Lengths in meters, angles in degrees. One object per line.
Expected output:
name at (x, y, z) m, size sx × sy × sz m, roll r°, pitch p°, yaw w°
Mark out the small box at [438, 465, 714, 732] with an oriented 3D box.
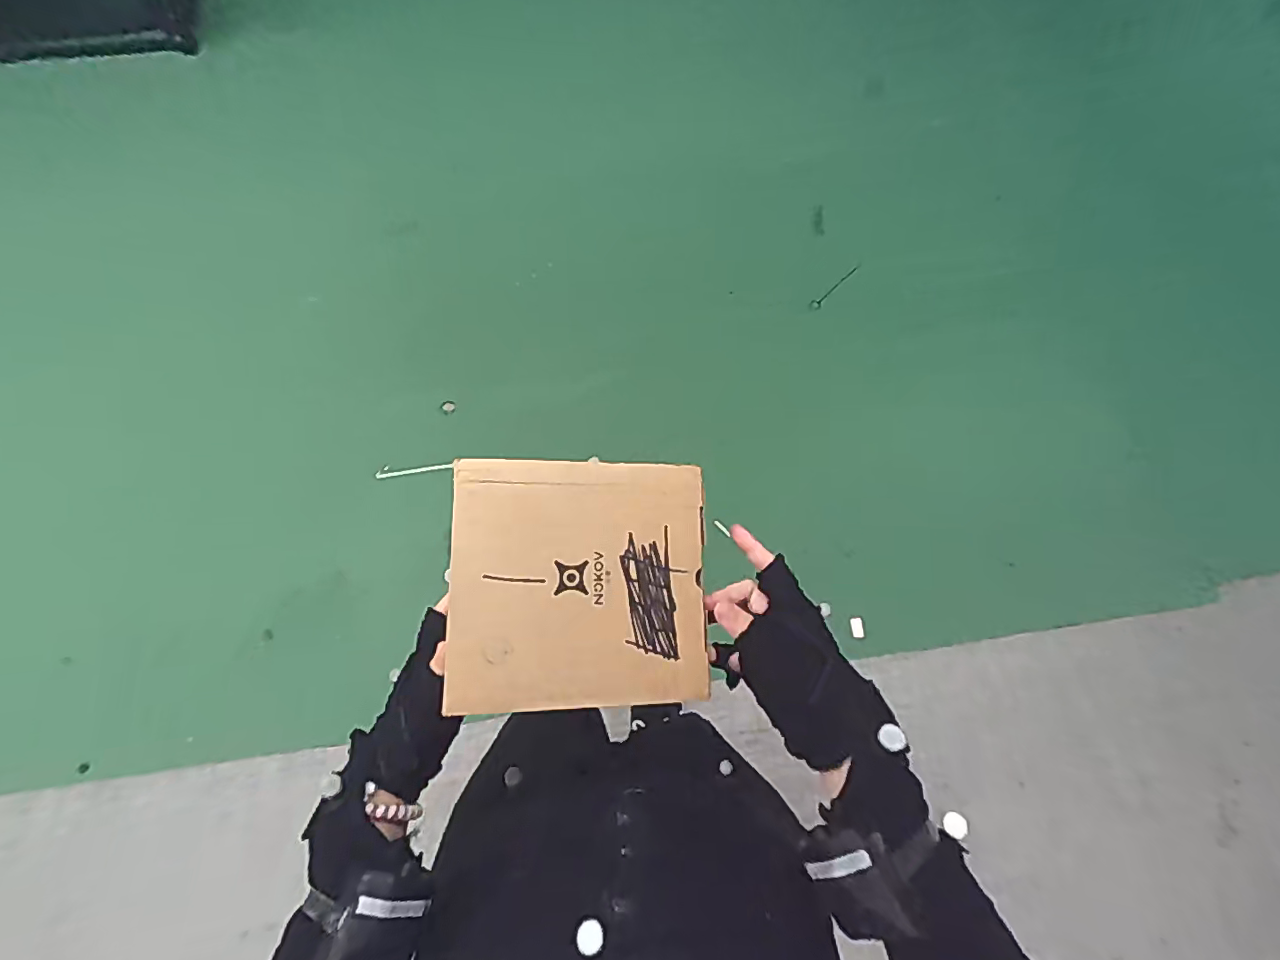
small box at (-0.053, 0.087, 0.430) m, size 0.179 × 0.176 × 0.168 m, roll 1°, pitch 79°, yaw -11°
